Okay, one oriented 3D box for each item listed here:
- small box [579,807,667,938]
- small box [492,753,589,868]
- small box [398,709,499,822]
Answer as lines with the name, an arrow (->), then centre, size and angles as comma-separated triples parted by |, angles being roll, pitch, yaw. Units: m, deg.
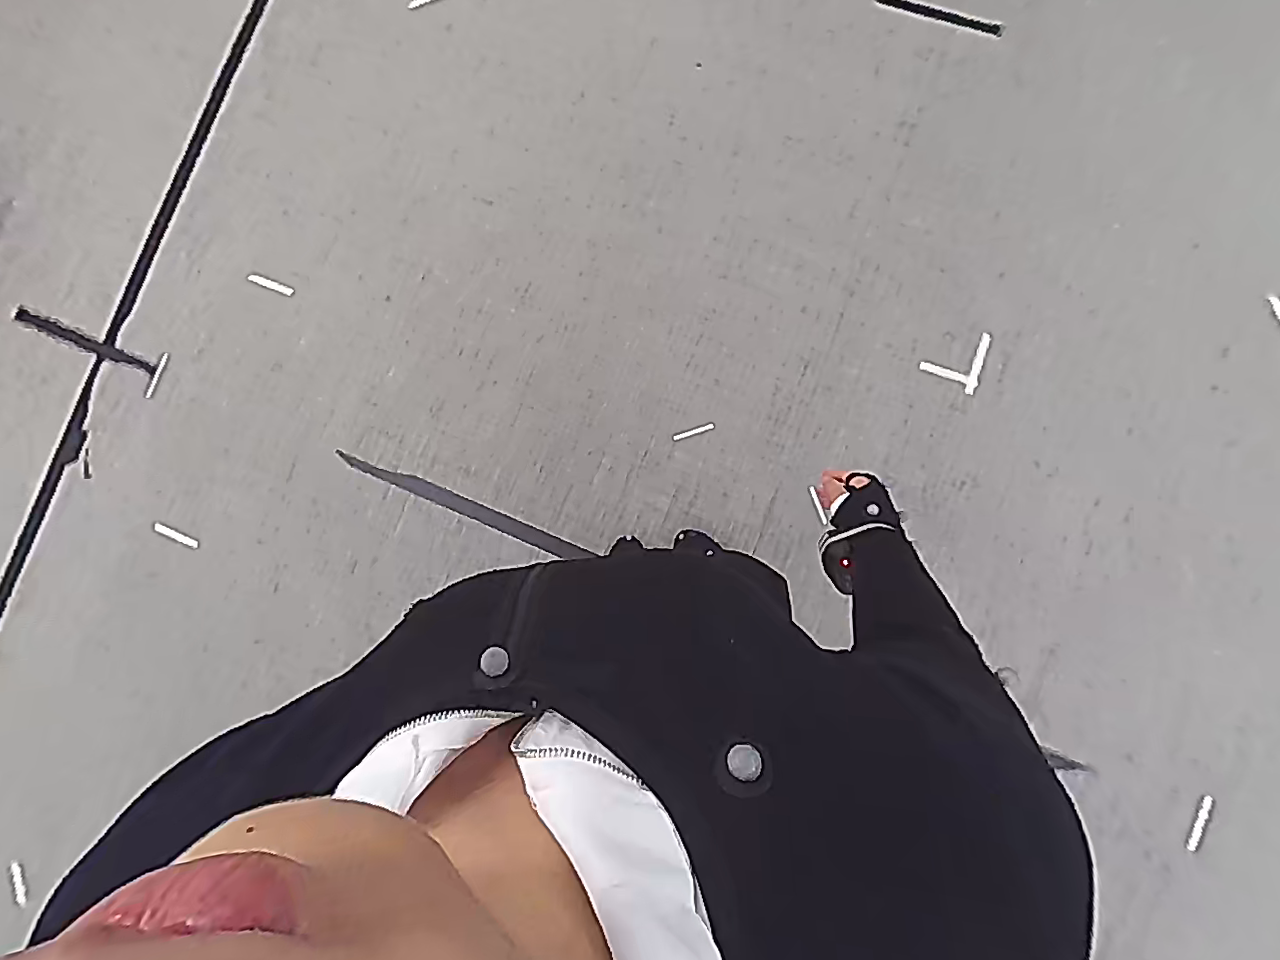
small box -> -0.034, 0.979, 1.365 | 0.168, 0.176, 0.179 | 21, 87, 5
small box -> -0.248, 0.837, 1.392 | 0.179, 0.176, 0.168 | 21, 88, 4
small box -> -0.489, 0.736, 1.414 | 0.168, 0.176, 0.179 | 21, 88, 5
